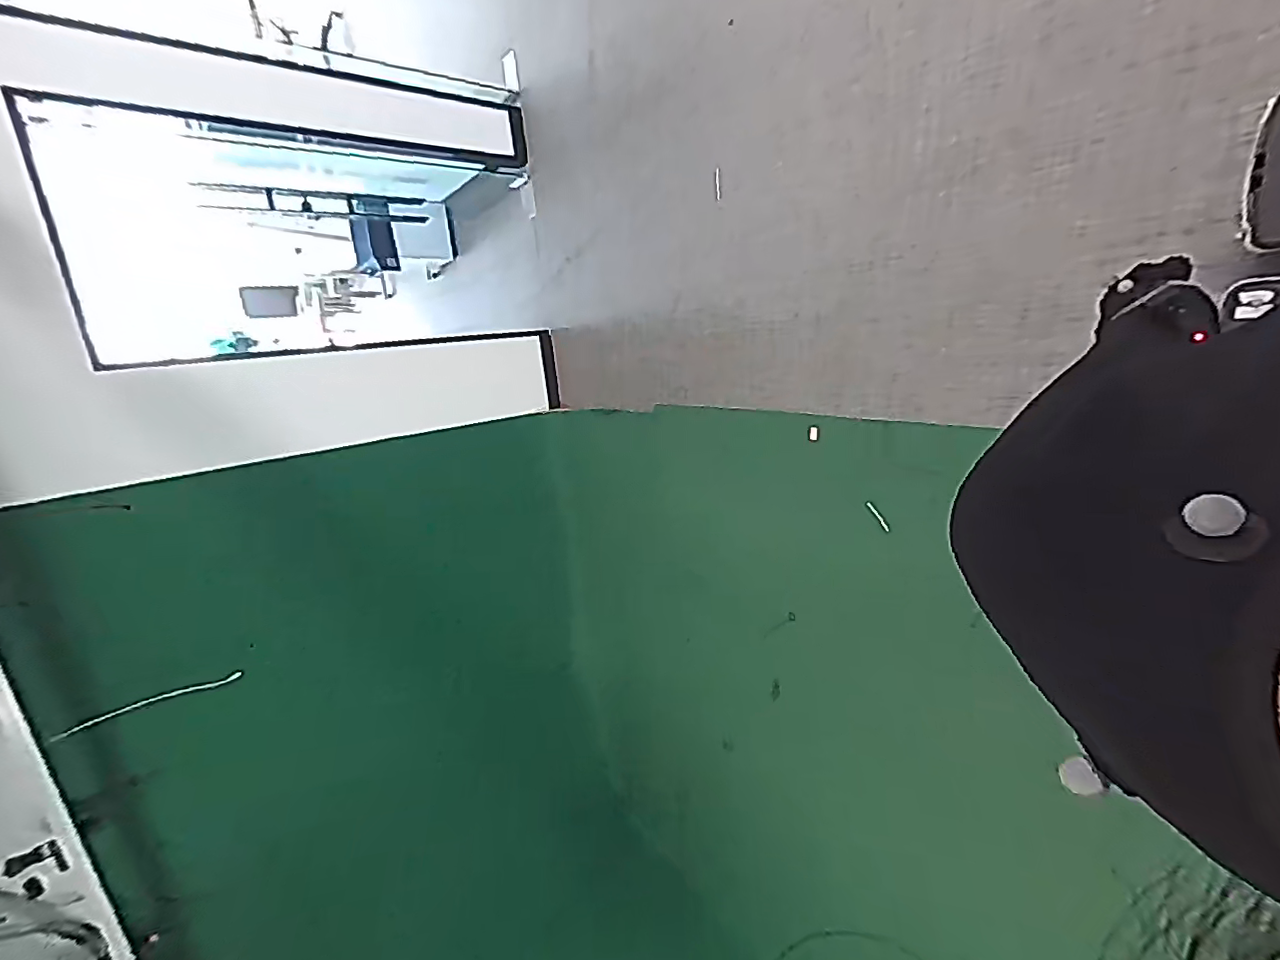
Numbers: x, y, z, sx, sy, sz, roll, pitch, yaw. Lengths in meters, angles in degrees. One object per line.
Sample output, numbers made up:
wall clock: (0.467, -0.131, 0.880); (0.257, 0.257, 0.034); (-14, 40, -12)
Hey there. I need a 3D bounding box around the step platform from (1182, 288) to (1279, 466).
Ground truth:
step platform: (1.231, -0.145, 0.732); (0.684, 0.204, 0.286); (12, 112, 49)
